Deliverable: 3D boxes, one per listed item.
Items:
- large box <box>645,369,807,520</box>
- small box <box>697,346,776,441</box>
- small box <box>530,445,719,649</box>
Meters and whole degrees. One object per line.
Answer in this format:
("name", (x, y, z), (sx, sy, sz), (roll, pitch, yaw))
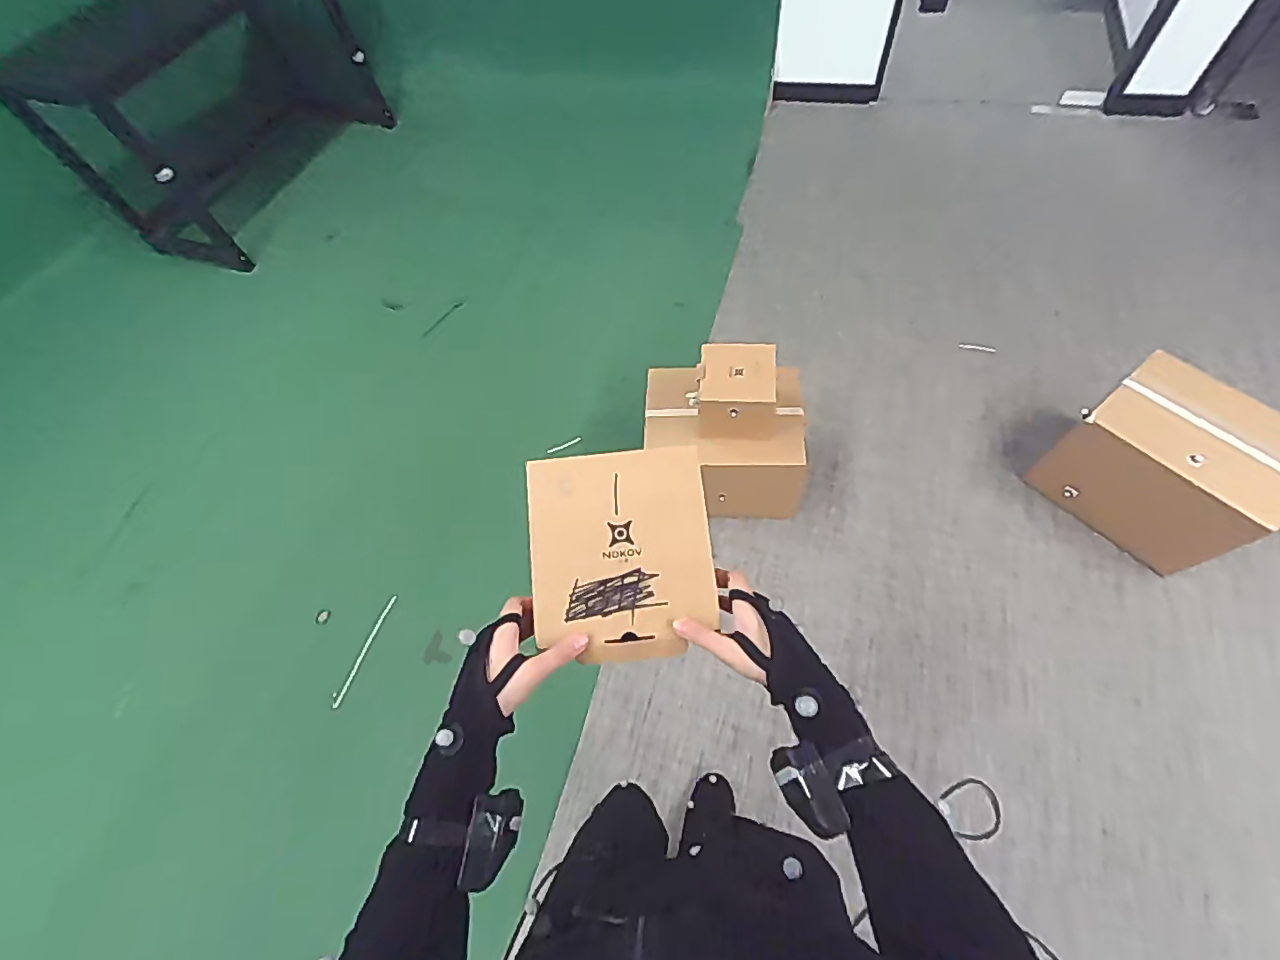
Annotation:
("large box", (0.234, -0.087, 1.527), (0.408, 0.320, 0.320), (-1, 60, 8))
("small box", (0.233, -0.205, 1.309), (0.179, 0.176, 0.168), (3, 64, 8))
("small box", (-0.015, 0.076, 0.570), (0.168, 0.176, 0.179), (-6, 75, 0))
